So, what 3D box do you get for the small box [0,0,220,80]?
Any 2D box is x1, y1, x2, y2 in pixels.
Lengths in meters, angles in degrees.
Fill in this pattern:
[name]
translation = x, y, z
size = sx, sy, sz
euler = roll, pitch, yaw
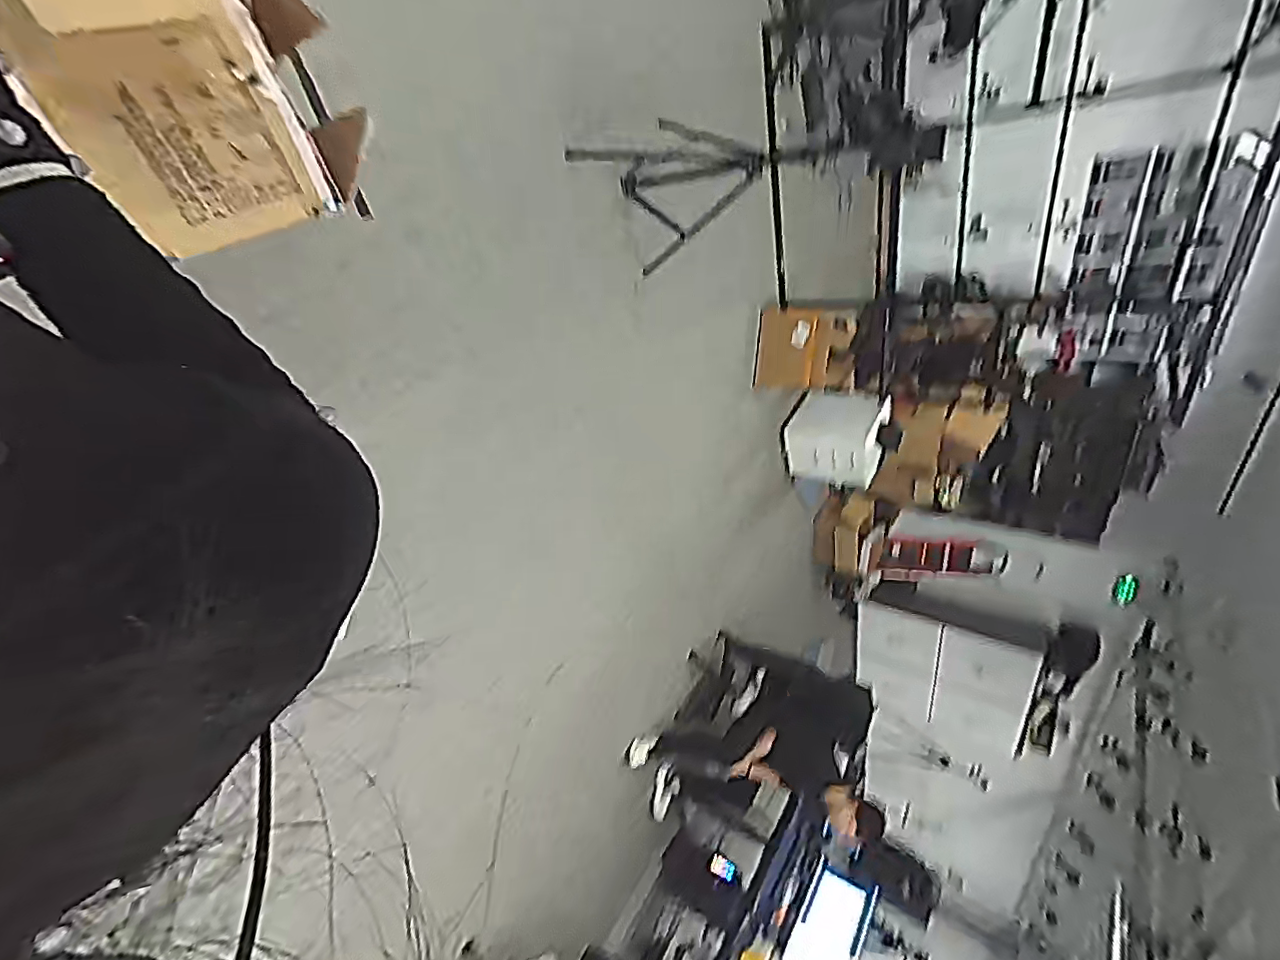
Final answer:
[small box]
translation = -0.639, -0.585, 0.615
size = 0.179, 0.176, 0.168
euler = -43, 130, -32
